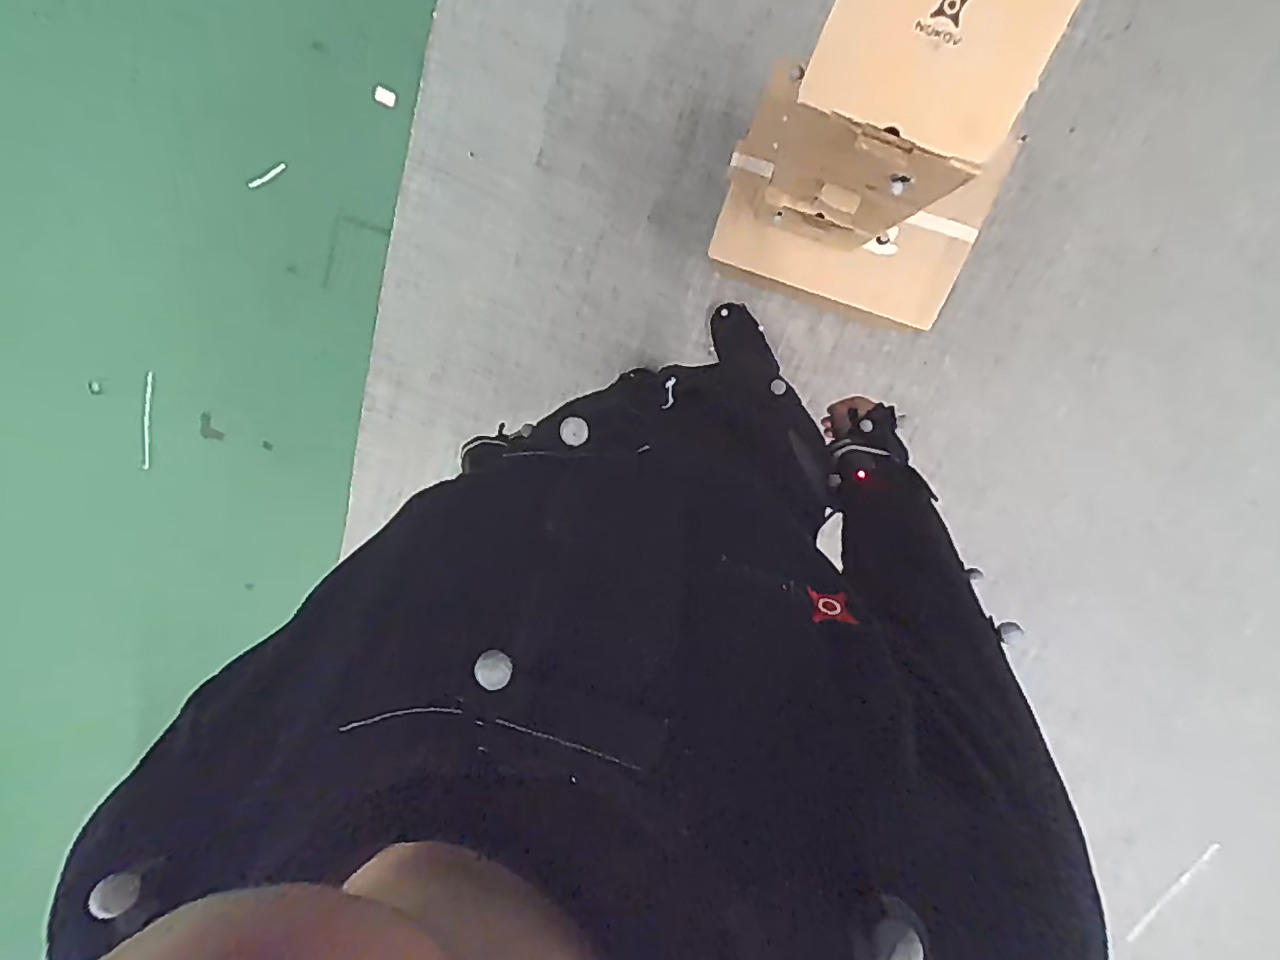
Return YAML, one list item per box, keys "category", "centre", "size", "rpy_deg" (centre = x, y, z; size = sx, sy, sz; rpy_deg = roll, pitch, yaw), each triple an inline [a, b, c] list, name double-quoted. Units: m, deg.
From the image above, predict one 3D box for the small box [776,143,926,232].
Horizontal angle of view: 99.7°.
- category: "small box"
  centre: [0.270, -0.415, 0.628]
  size: [0.168, 0.176, 0.179]
  rpy_deg: [25, 109, 1]

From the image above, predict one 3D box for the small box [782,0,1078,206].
- category: "small box"
  centre: [0.237, -0.367, 0.476]
  size: [0.168, 0.176, 0.179]
  rpy_deg: [22, 108, 1]

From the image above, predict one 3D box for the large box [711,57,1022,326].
- category: "large box"
  centre: [0.370, -0.501, 1.015]
  size: [0.408, 0.320, 0.320]
  rpy_deg: [19, 110, 2]
